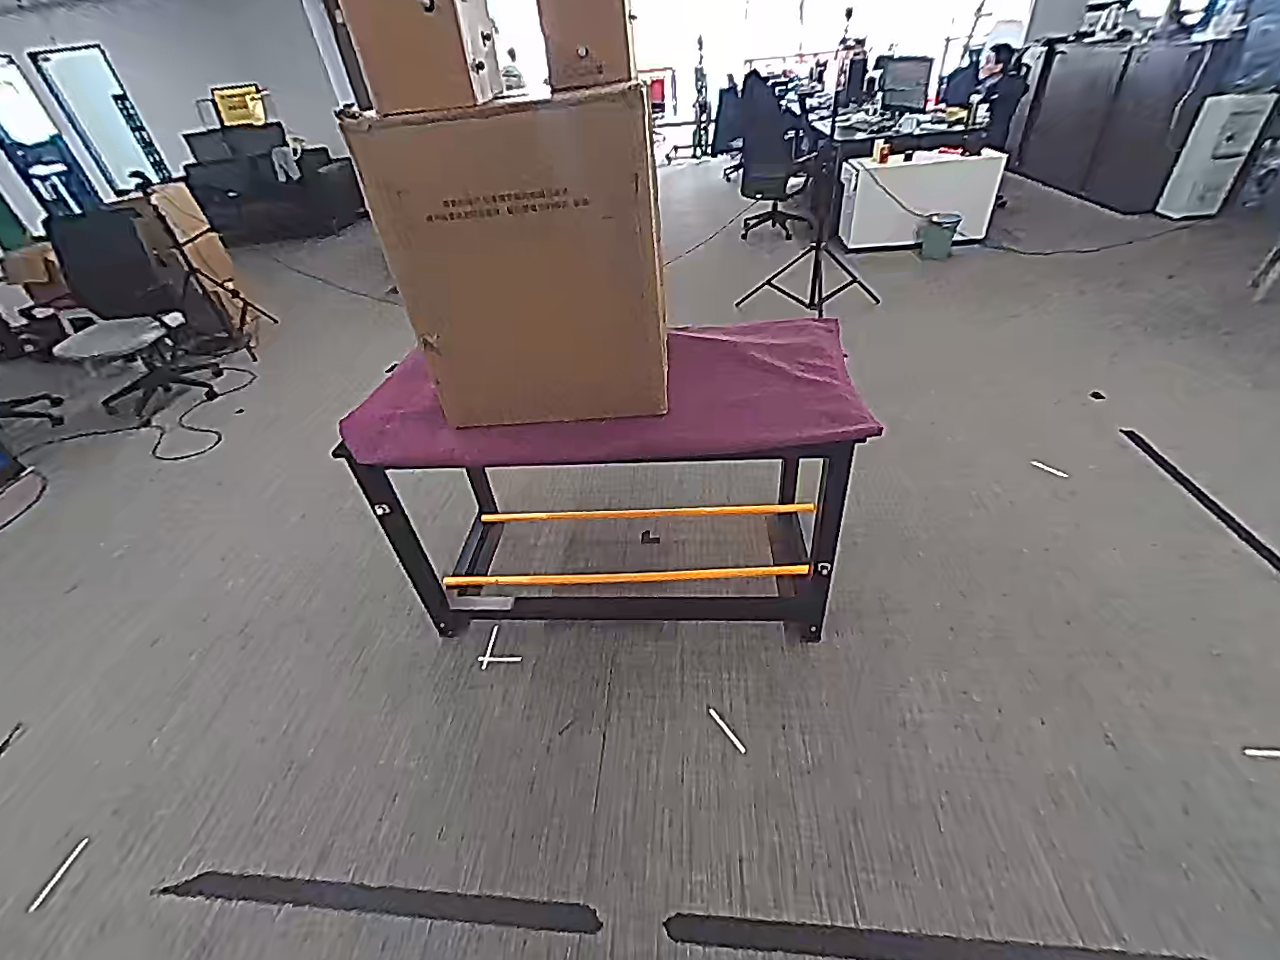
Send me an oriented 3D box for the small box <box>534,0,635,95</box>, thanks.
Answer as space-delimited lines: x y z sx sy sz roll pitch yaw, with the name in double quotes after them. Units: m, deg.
-0.103 -0.873 1.067 0.168 0.176 0.179 -3 38 7 "small box"
